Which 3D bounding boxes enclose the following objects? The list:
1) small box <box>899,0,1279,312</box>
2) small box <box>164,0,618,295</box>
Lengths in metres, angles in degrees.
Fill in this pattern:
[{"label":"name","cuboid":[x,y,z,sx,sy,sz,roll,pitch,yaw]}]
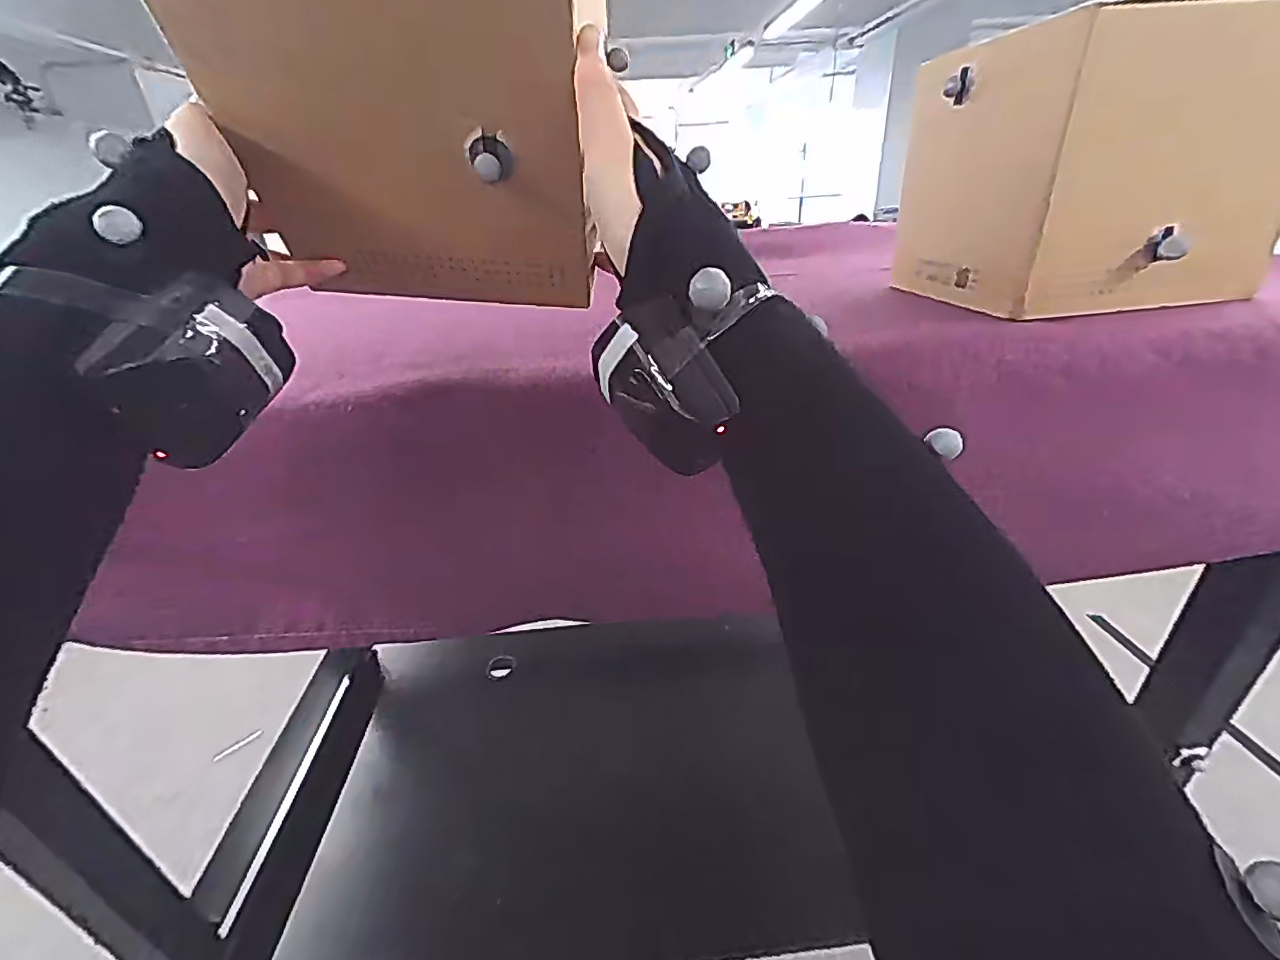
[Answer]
[{"label":"small box","cuboid":[0.320,-0.226,0.393,0.179,0.176,0.168,-6,27,-4]},{"label":"small box","cuboid":[-0.104,-0.226,0.307,0.179,0.176,0.168,3,57,0]}]
